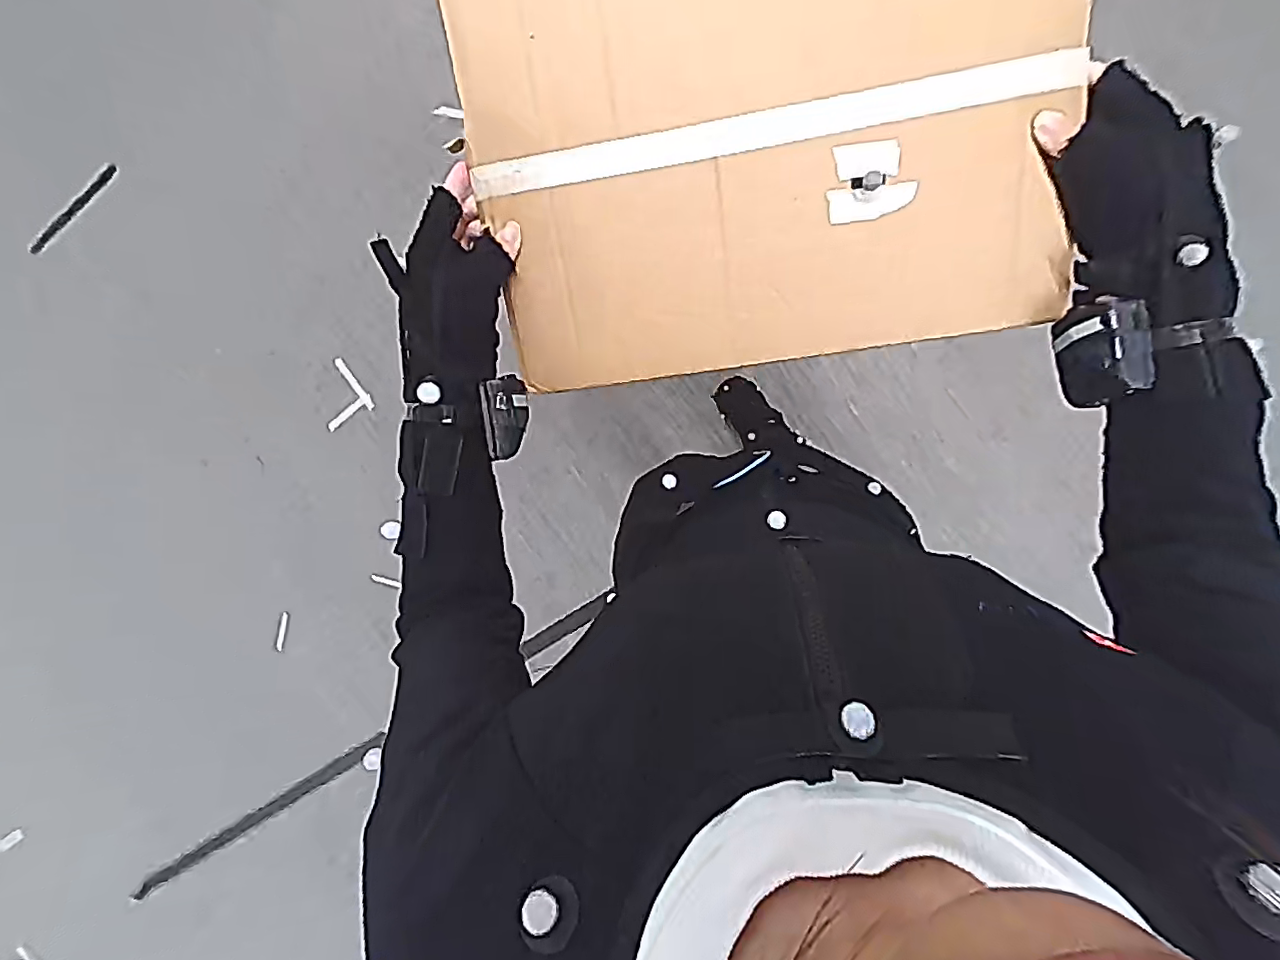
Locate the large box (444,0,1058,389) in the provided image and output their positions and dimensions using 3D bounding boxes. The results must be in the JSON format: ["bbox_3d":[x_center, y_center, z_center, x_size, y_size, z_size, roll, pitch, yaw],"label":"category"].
[{"bbox_3d":[0.088,-0.293,0.525,0.408,0.320,0.320,-8,108,6],"label":"large box"}]
